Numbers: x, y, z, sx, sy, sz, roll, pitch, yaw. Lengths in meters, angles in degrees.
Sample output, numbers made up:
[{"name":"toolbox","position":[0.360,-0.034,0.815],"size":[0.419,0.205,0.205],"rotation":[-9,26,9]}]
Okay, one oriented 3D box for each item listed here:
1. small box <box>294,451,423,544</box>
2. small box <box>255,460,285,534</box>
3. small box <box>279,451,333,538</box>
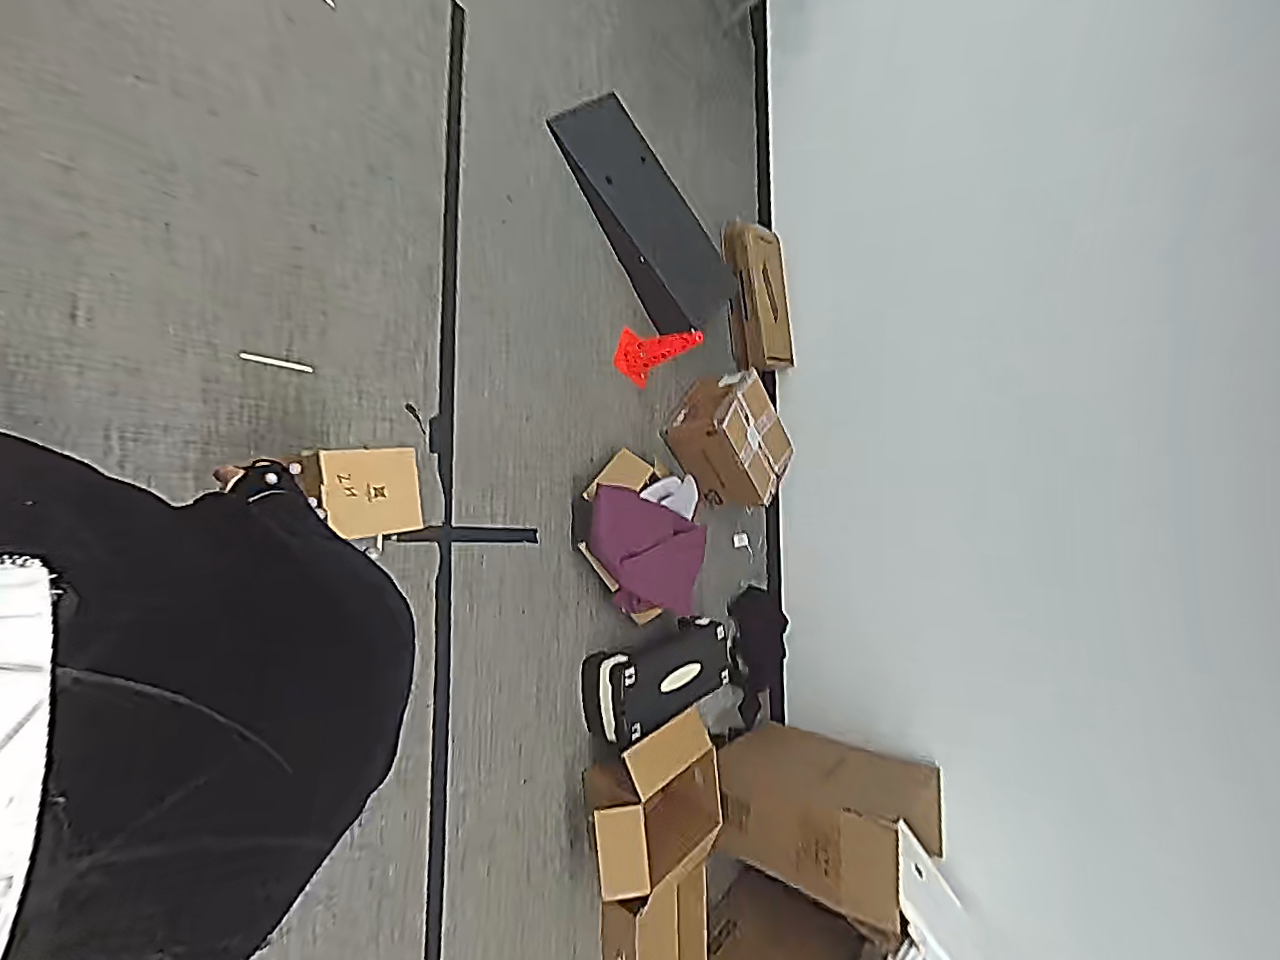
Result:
[{"name":"small box","position":[-0.558,0.031,1.071],"size":[0.179,0.176,0.168],"rotation":[-6,90,-47]},{"name":"small box","position":[-0.798,0.039,1.297],"size":[0.179,0.176,0.168],"rotation":[-4,88,-46]},{"name":"small box","position":[-0.676,0.034,1.187],"size":[0.168,0.176,0.179],"rotation":[-1,87,-47]}]
